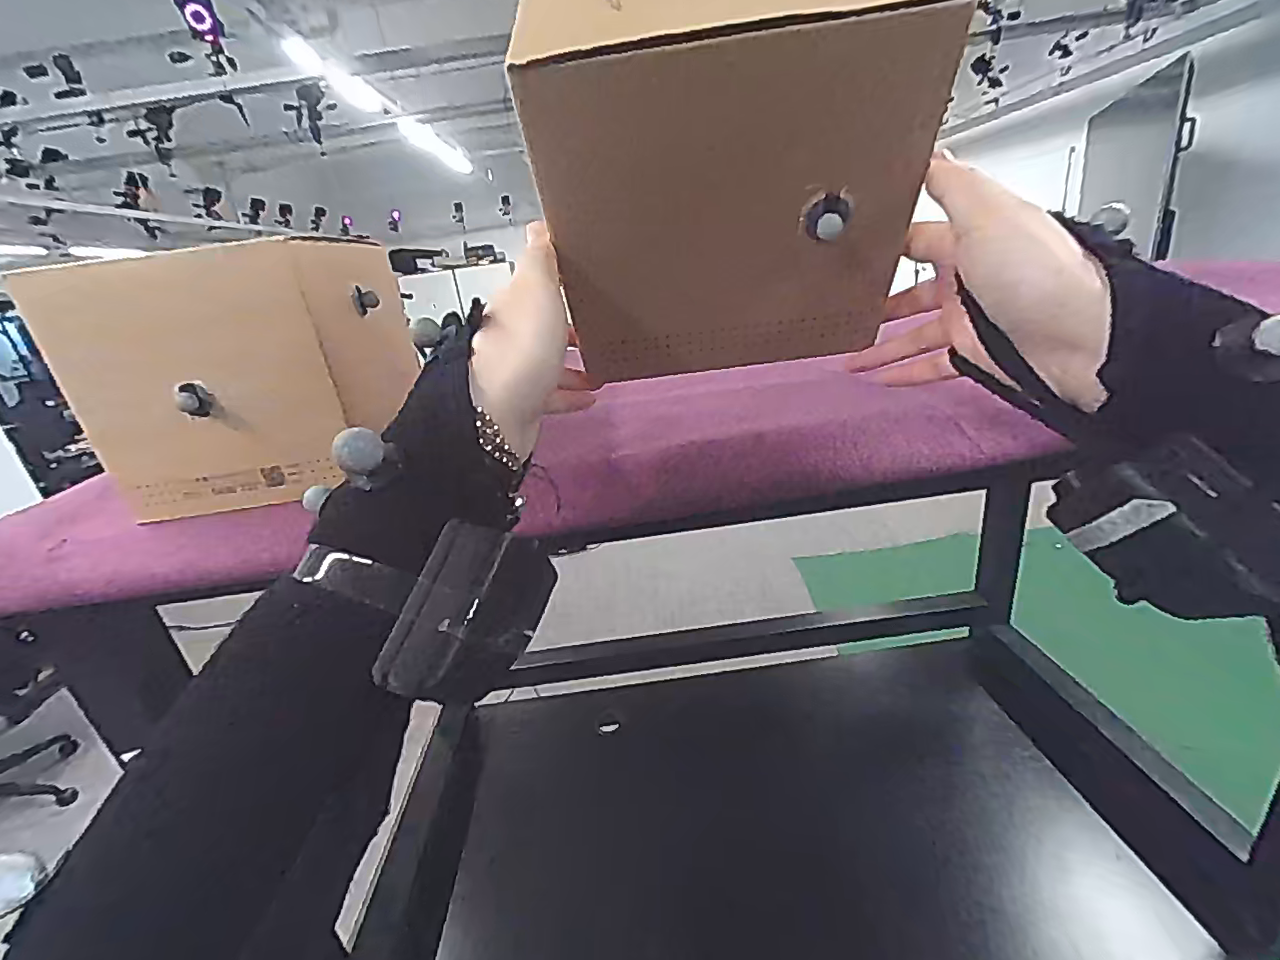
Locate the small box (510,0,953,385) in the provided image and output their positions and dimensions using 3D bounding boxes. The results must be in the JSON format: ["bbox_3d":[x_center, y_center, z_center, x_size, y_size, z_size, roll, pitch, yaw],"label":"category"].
[{"bbox_3d":[0.039,-0.178,0.319,0.179,0.176,0.168,-7,52,3],"label":"small box"}]

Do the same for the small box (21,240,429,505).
[{"bbox_3d":[-0.286,-0.086,0.430,0.168,0.176,0.179,-8,22,-2],"label":"small box"}]
